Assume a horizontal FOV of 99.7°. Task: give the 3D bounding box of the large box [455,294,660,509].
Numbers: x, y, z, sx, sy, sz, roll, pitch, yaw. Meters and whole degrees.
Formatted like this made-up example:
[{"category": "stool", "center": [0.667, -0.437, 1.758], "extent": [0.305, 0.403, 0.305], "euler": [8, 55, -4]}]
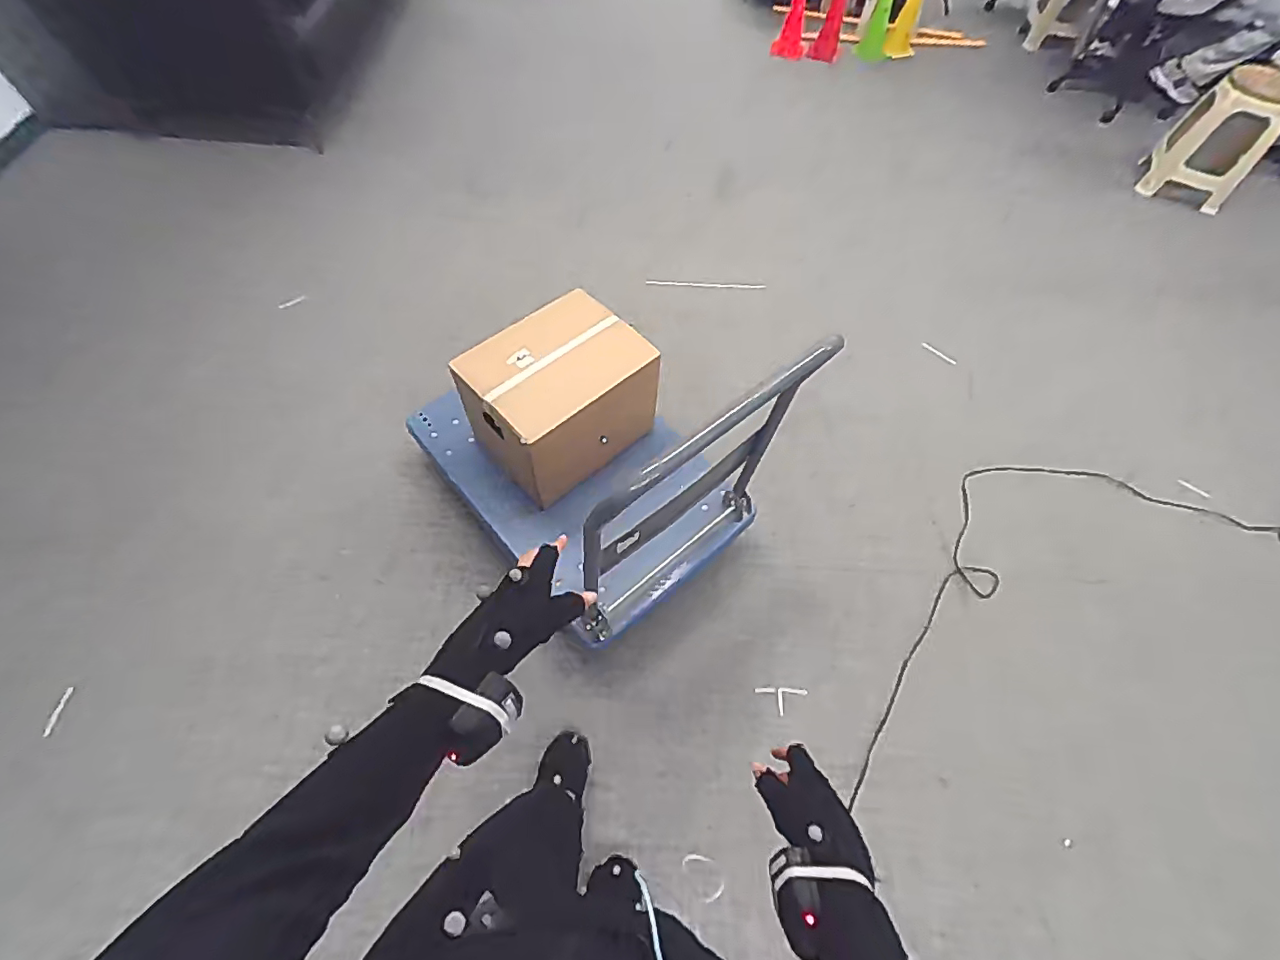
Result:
[{"category": "large box", "center": [-0.198, -0.203, 1.421], "extent": [0.408, 0.320, 0.320], "euler": [-39, 68, -22]}]
